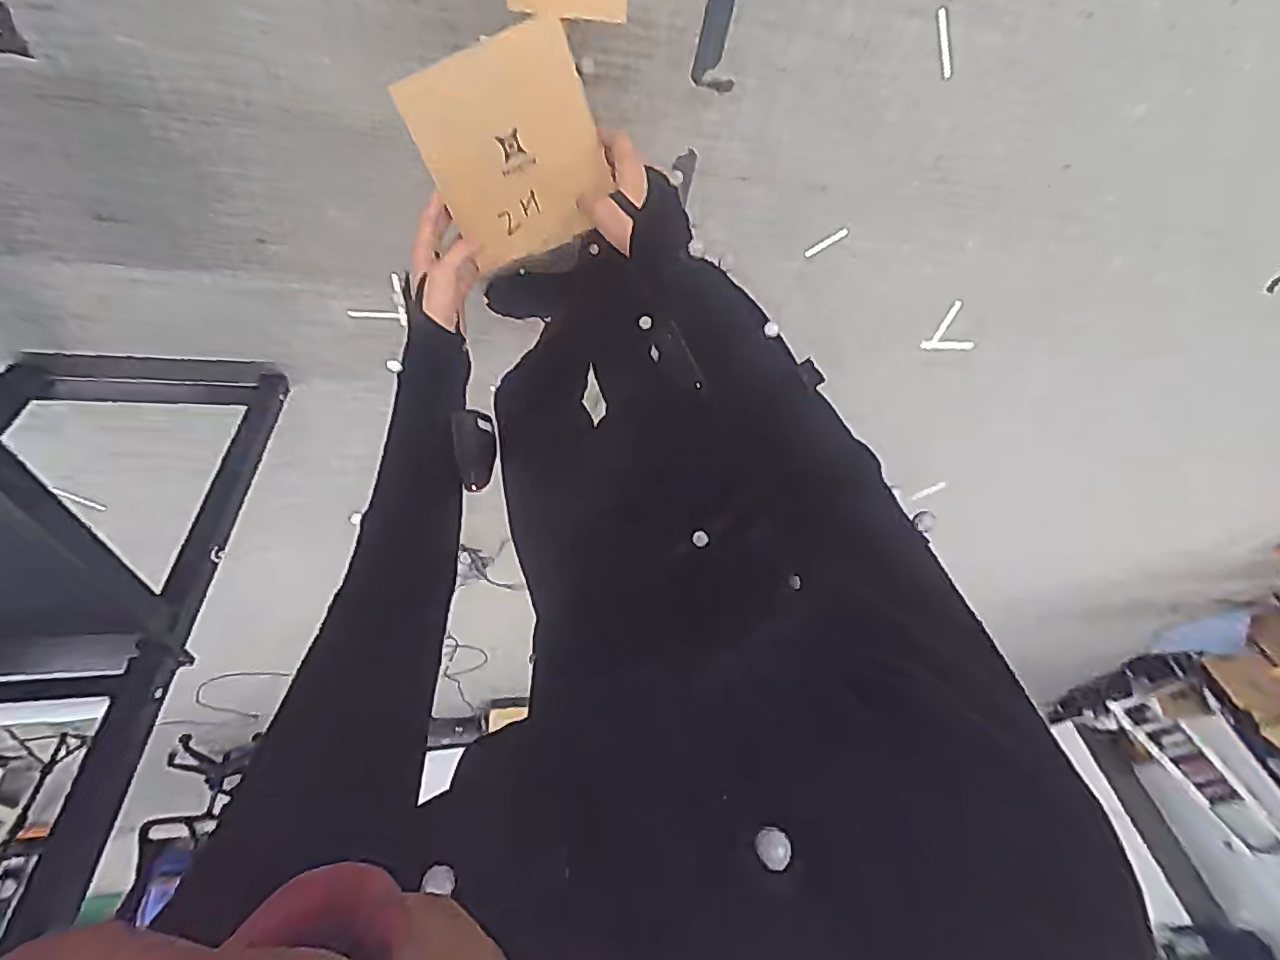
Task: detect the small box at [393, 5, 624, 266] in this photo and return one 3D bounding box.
[{"bbox_3d":[-0.126,-0.360,0.583,0.168,0.176,0.179,-18,124,7],"label":"small box"}]
